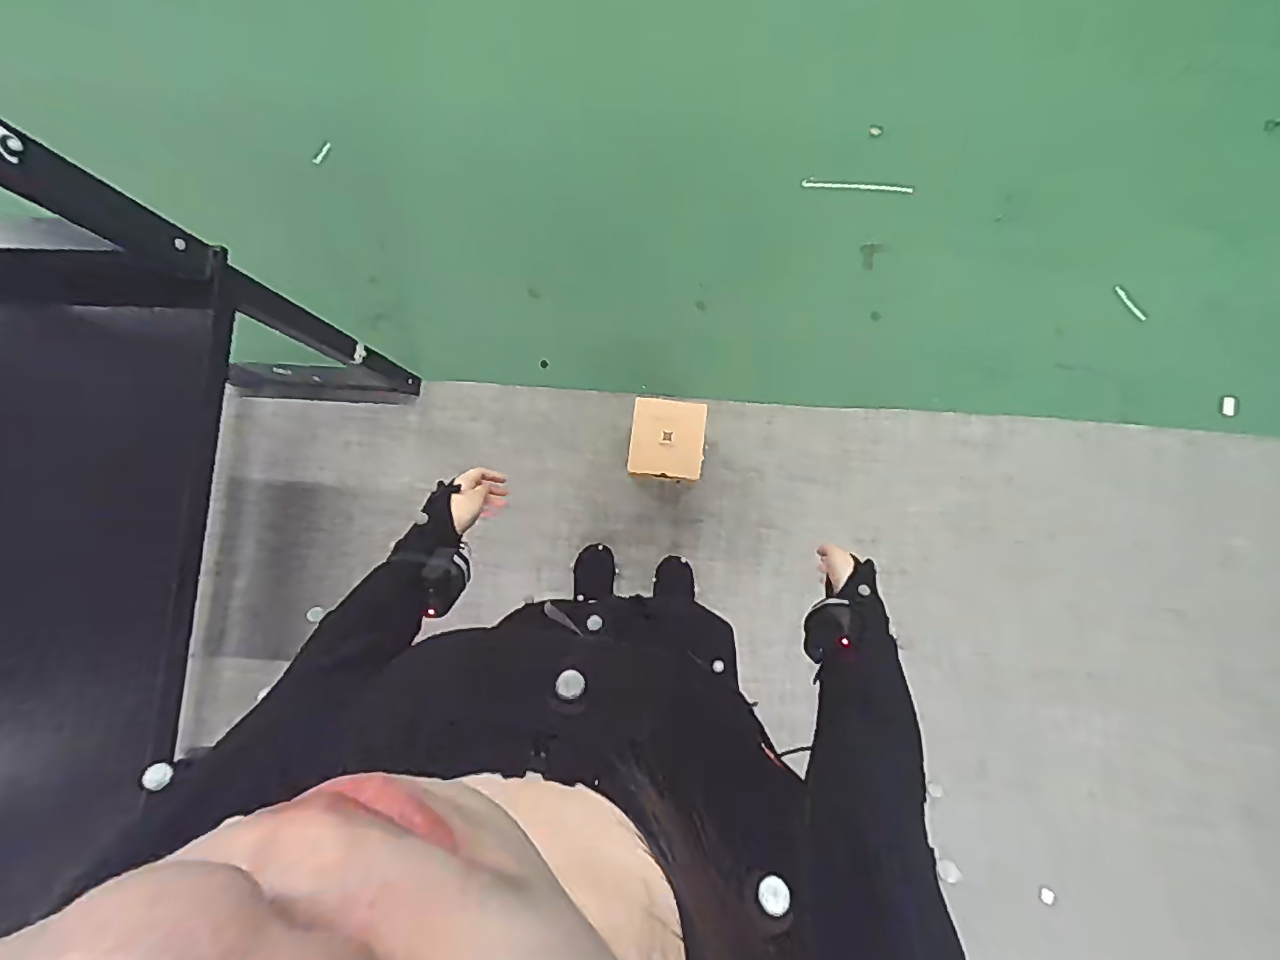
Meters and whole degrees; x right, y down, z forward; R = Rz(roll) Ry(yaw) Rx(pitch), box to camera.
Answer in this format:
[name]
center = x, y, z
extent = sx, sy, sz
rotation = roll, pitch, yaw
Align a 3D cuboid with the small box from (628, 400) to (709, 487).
[small box]
center = 0.067, -0.079, 1.274
extent = 0.168, 0.176, 0.179
rotation = 6, 85, 2
